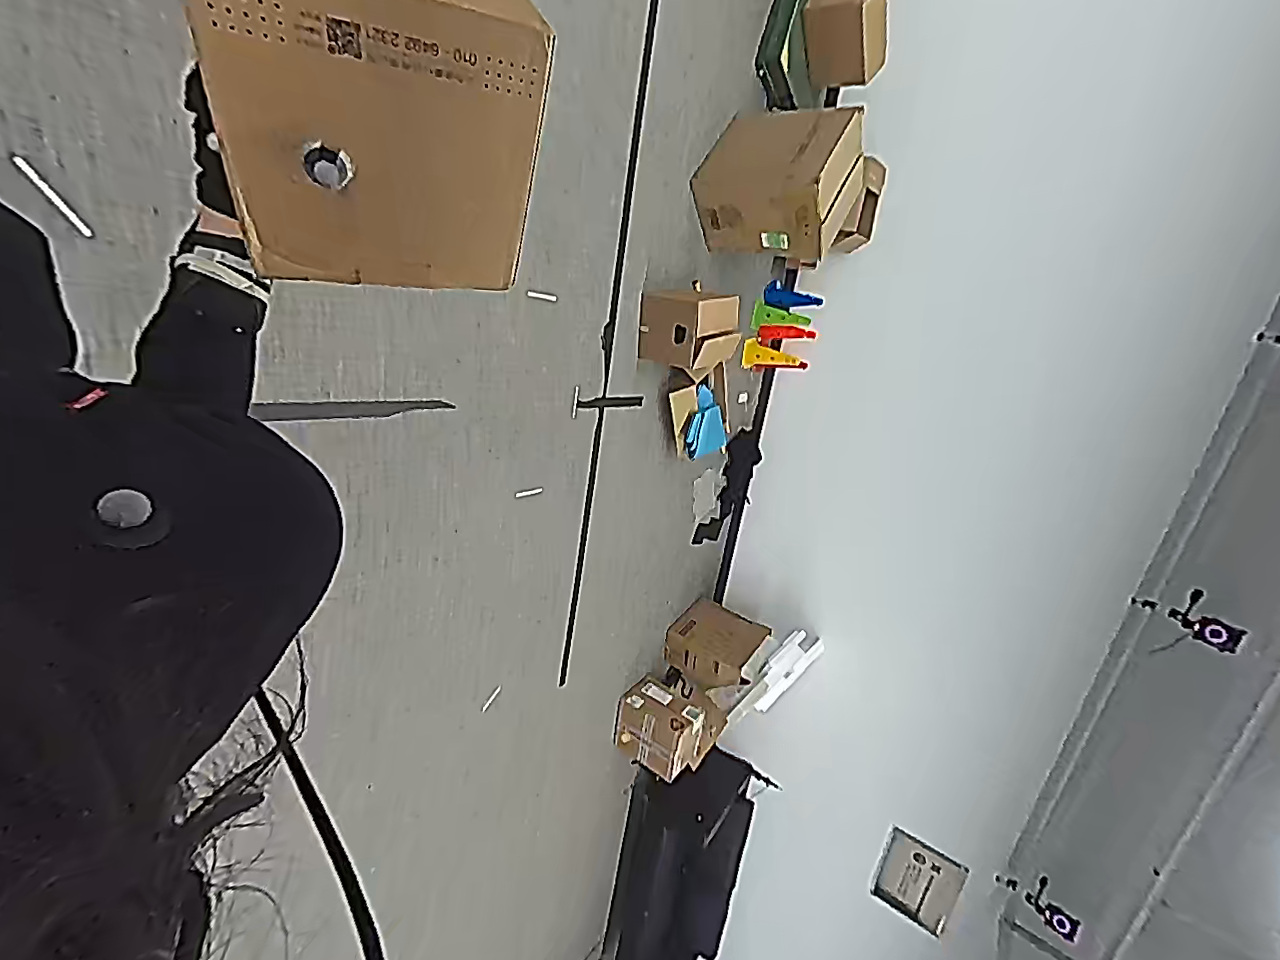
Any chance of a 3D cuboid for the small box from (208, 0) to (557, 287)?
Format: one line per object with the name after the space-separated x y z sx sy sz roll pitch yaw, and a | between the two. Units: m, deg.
-0.165 -0.252 0.348 0.168 0.179 0.176 -7 147 -30 | small box
